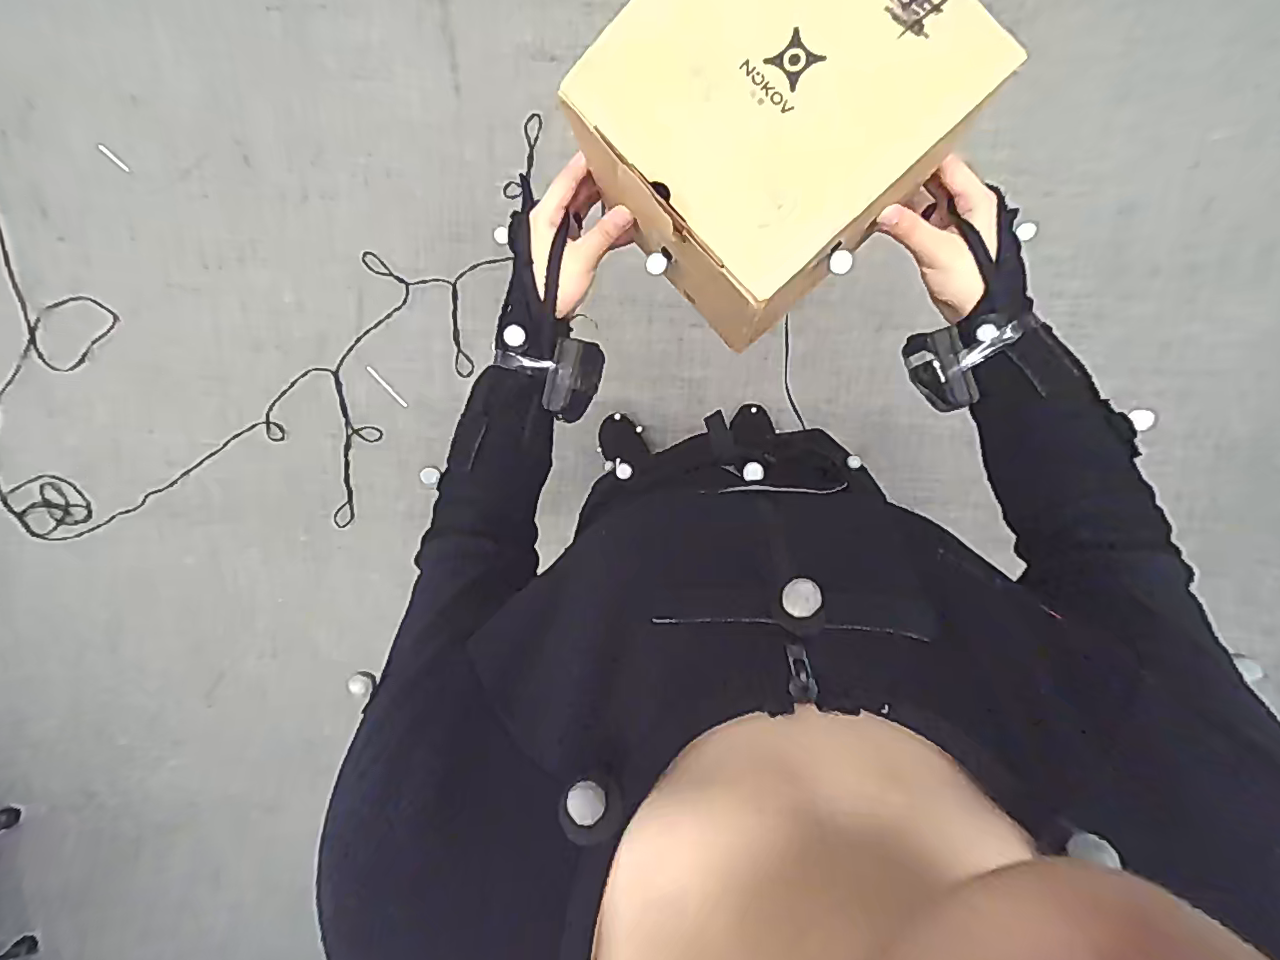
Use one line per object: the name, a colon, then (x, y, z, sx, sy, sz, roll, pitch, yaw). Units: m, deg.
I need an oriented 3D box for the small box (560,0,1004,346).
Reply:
small box: (0.081, -0.215, 0.365, 0.179, 0.176, 0.168, -42, 88, 9)
